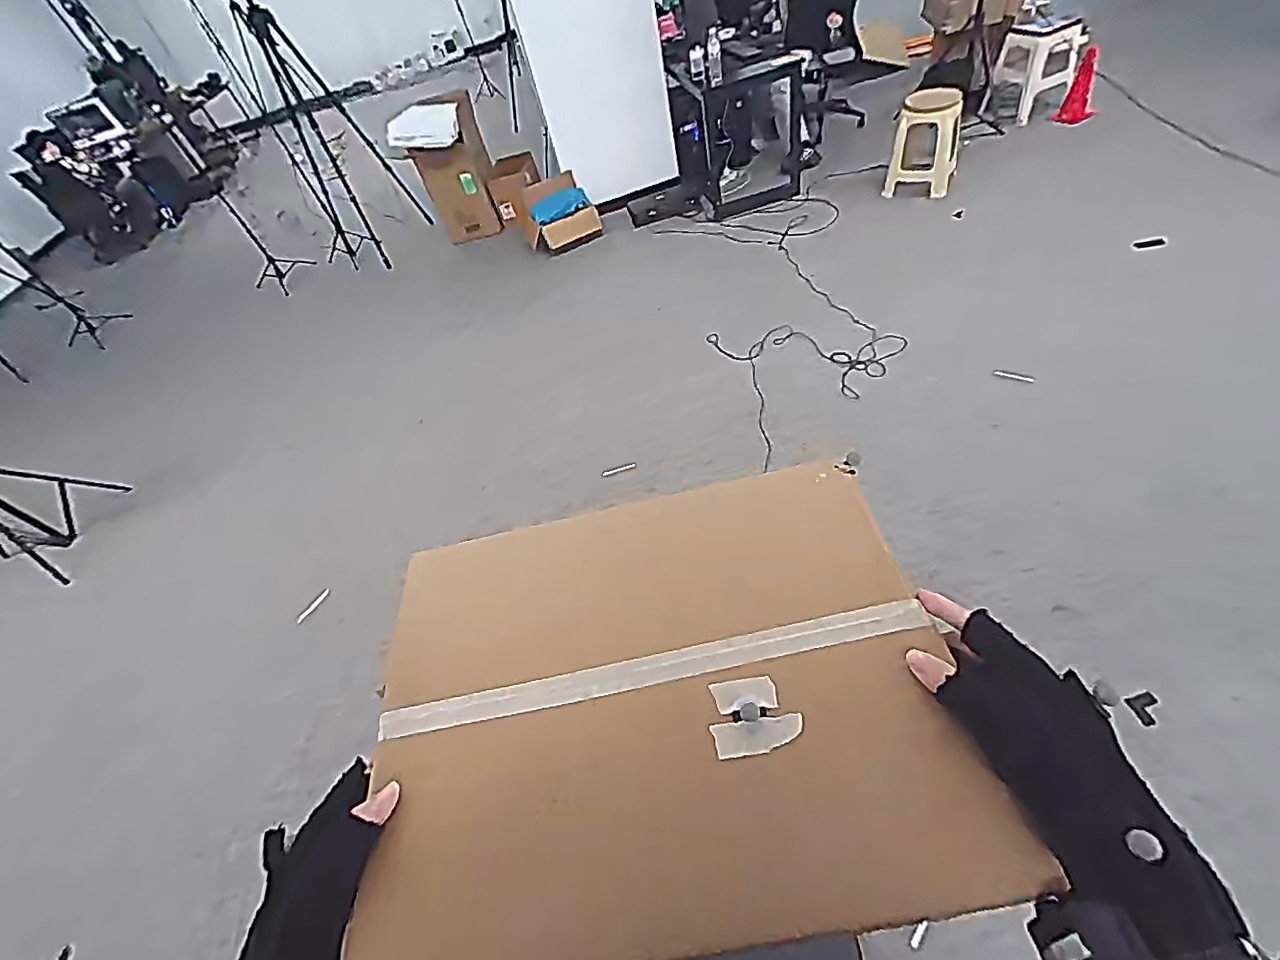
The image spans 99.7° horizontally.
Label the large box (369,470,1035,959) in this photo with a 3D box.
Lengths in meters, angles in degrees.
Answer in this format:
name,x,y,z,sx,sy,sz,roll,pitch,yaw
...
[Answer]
name,x,y,z,sx,sy,sz,roll,pitch,yaw
large box,0.036,0.242,0.517,0.408,0.320,0.320,-13,49,3
